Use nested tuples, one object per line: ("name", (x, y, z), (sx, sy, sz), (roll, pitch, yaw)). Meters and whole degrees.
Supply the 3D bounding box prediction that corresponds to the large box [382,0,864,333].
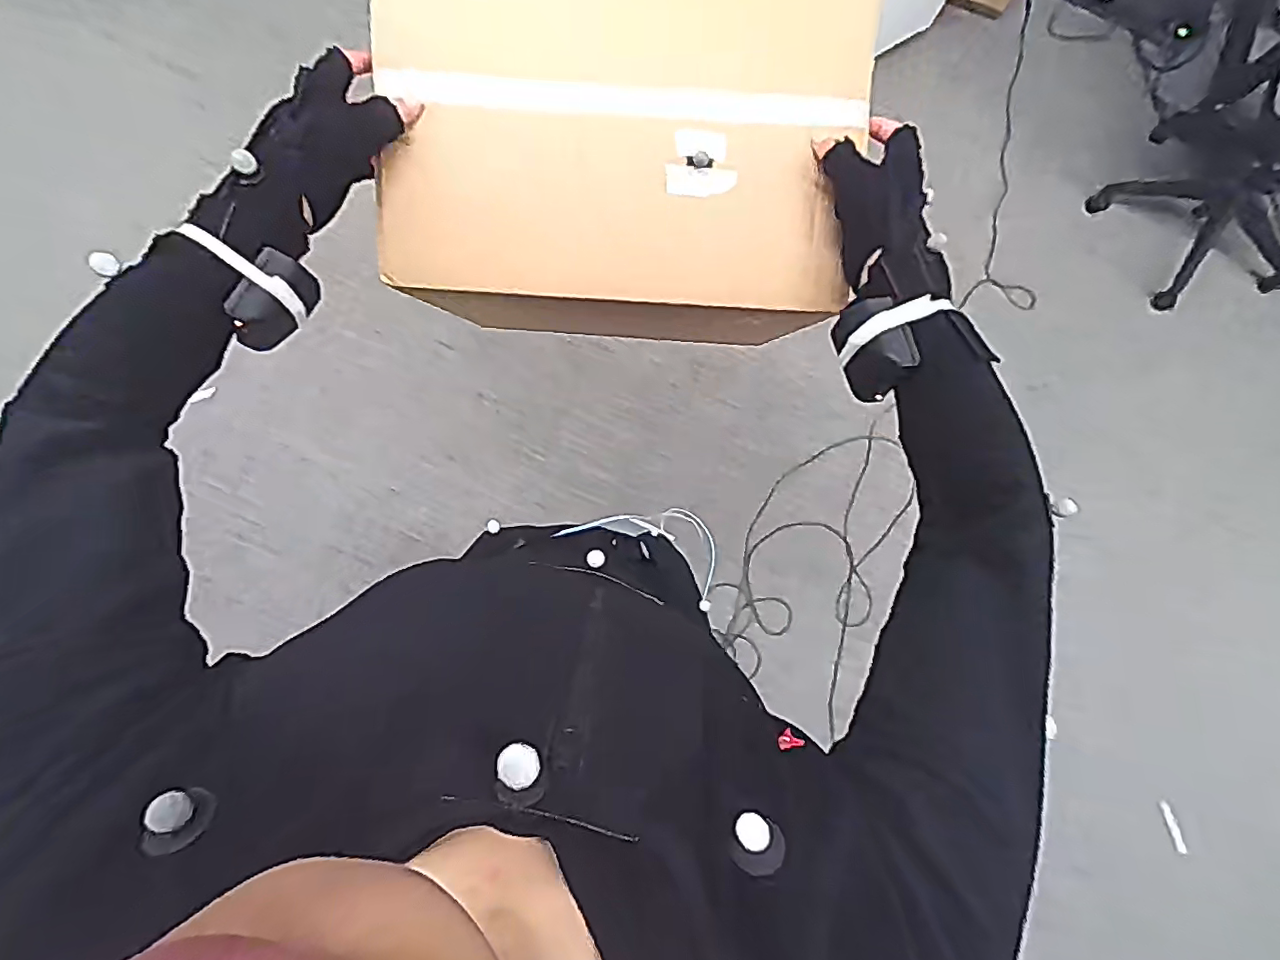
("large box", (-0.020, -0.344, 0.601), (0.408, 0.320, 0.320), (3, 99, -2))
